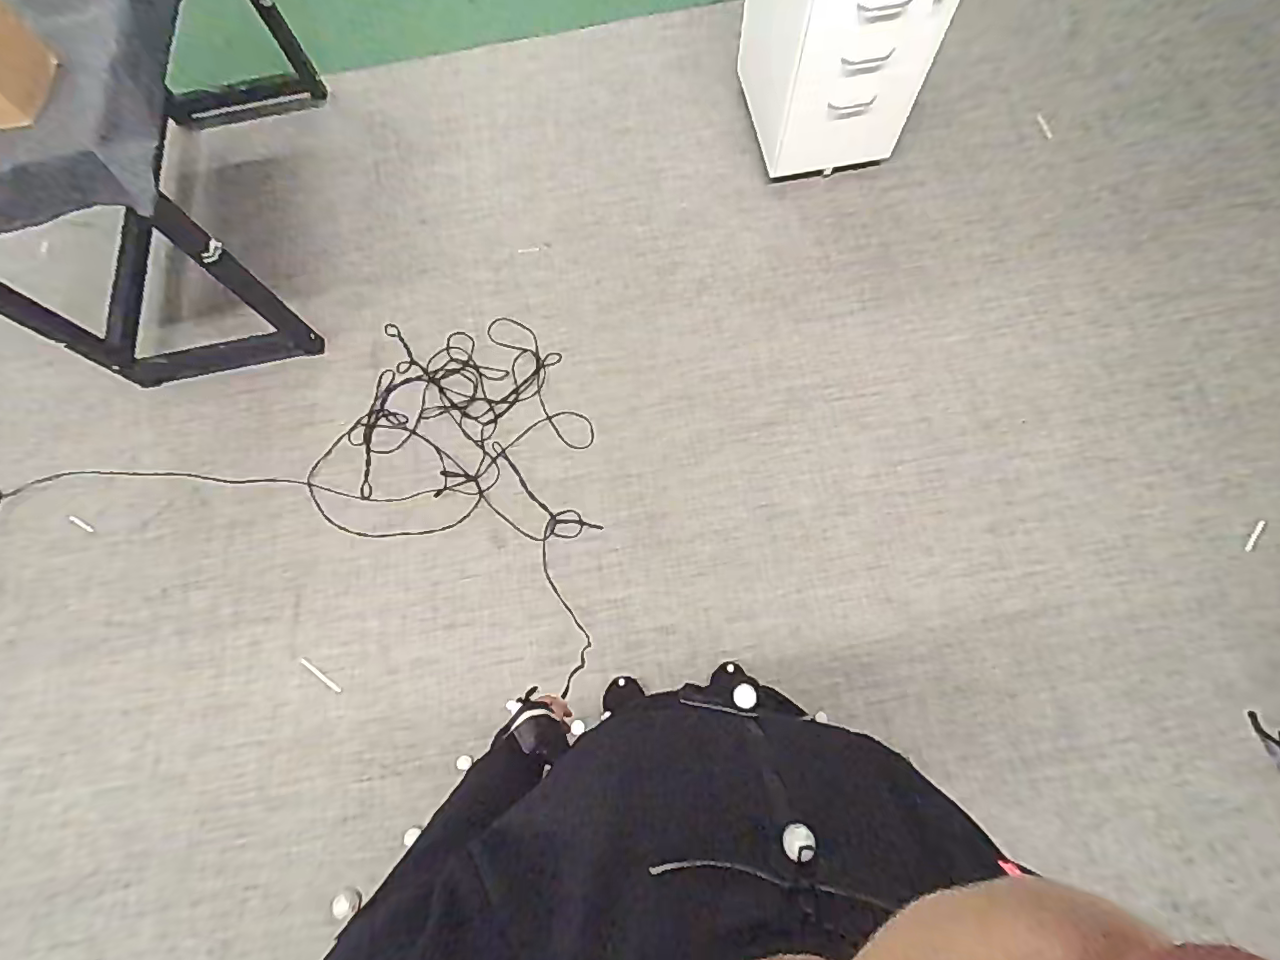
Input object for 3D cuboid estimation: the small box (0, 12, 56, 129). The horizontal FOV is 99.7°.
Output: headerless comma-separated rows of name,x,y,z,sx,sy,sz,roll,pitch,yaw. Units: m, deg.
small box,-1.218,-0.757,0.963,0.168,0.176,0.179,-4,70,1
